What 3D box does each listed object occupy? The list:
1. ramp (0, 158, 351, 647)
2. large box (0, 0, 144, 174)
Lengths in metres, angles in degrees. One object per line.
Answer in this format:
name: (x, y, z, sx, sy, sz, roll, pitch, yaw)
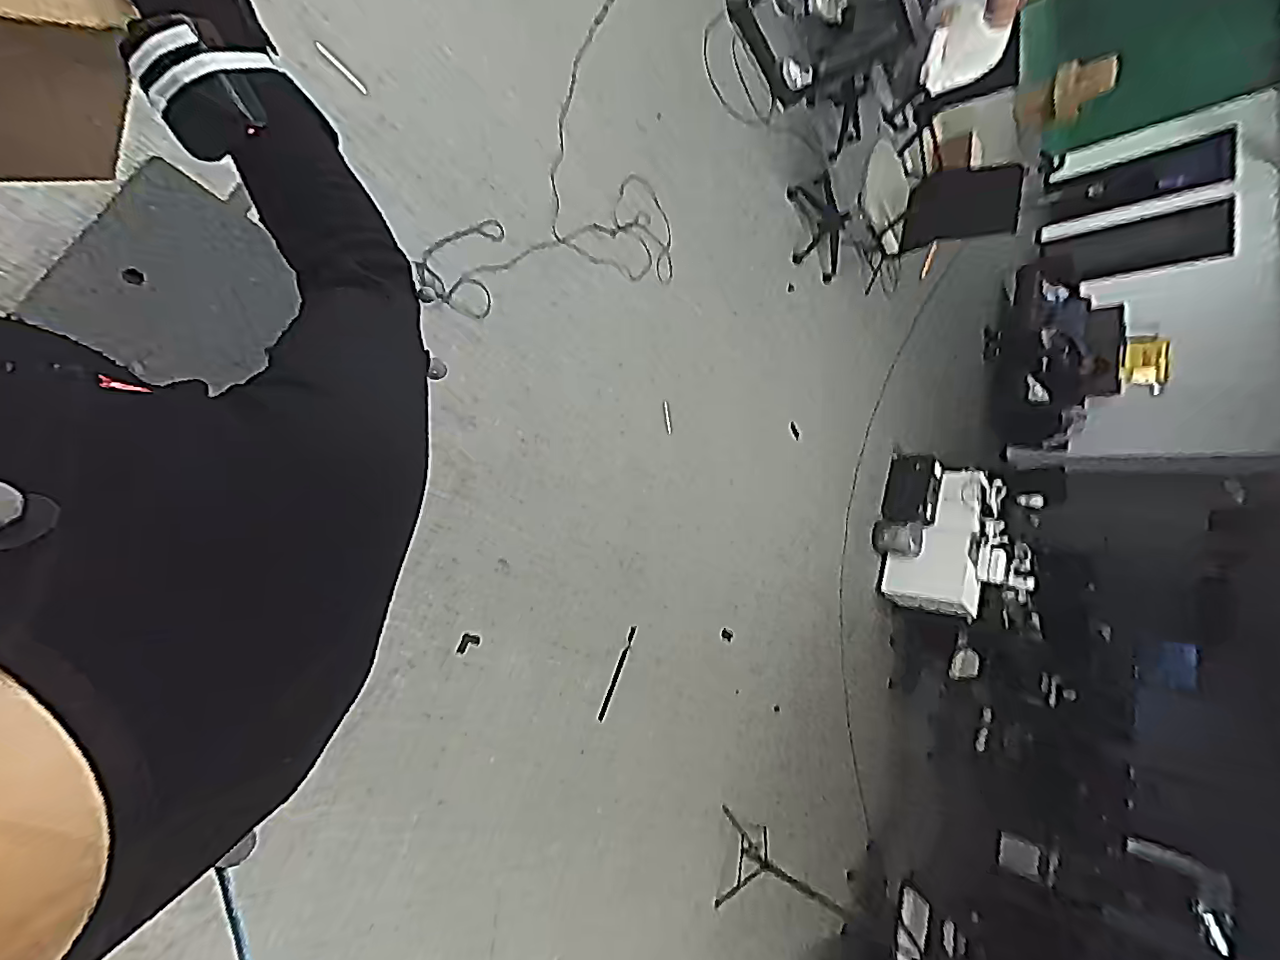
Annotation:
ramp: (-1.067, -0.195, 1.175, 0.509, 0.206, 0.991, 32, 69, -39)
large box: (-0.588, -0.366, 0.273, 0.408, 0.320, 0.320, -30, 116, -41)
